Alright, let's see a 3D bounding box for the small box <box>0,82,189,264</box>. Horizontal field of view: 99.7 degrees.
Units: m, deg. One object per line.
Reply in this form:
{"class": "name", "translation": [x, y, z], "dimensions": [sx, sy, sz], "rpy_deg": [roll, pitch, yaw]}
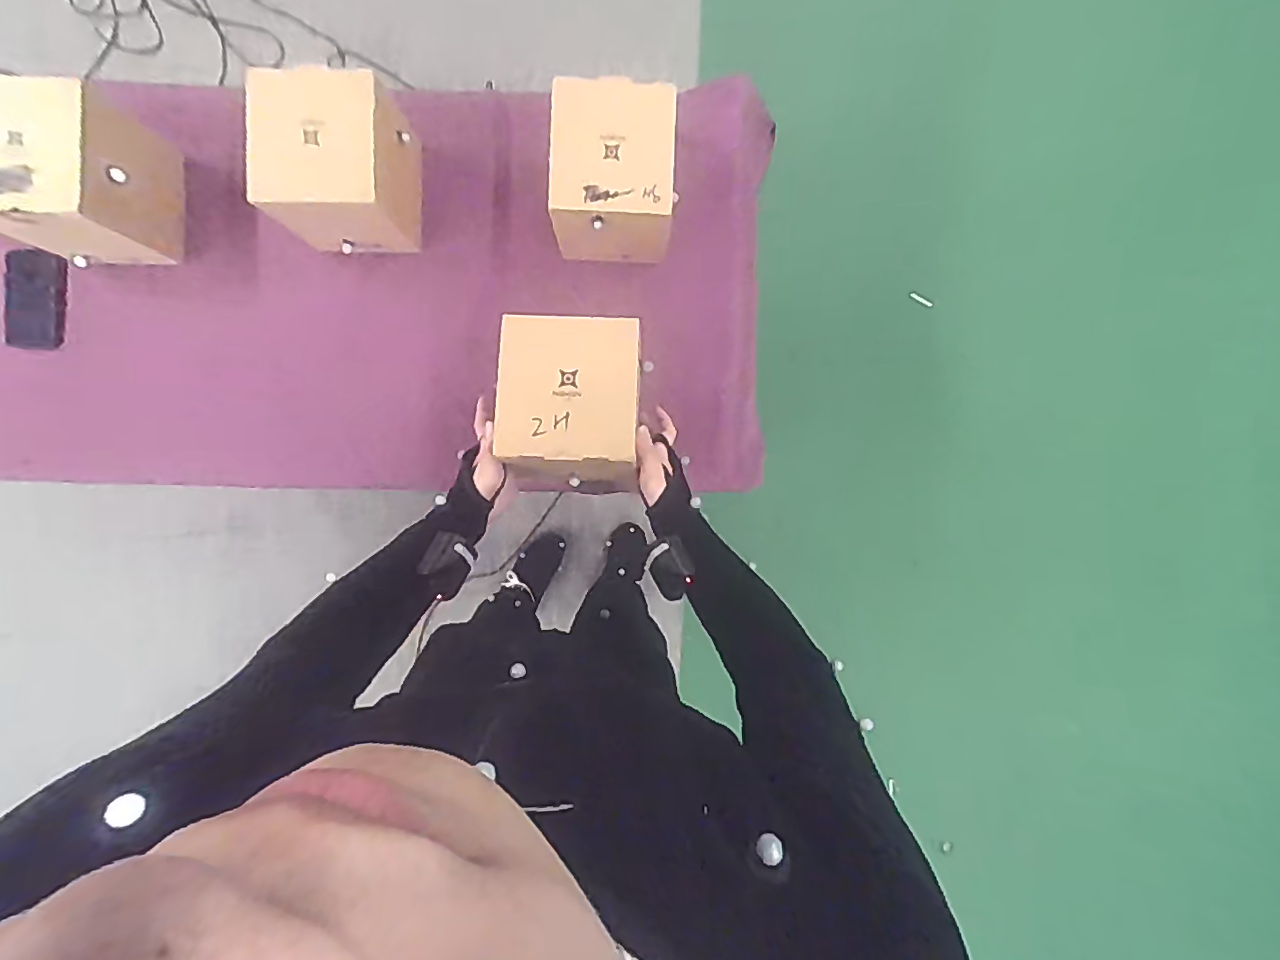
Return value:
{"class": "small box", "translation": [-0.791, -0.423, 0.771], "dimensions": [0.168, 0.176, 0.179], "rpy_deg": [0, 90, -2]}

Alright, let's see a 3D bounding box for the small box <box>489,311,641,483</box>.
{"class": "small box", "translation": [-0.086, -0.098, 0.703], "dimensions": [0.168, 0.176, 0.179], "rpy_deg": [3, 82, 1]}

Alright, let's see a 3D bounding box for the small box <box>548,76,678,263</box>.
{"class": "small box", "translation": [-0.037, -0.440, 0.789], "dimensions": [0.168, 0.176, 0.179], "rpy_deg": [2, 90, 0]}

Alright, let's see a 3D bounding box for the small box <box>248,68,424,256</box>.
{"class": "small box", "translation": [-0.426, -0.447, 0.781], "dimensions": [0.168, 0.176, 0.179], "rpy_deg": [0, 91, -1]}
